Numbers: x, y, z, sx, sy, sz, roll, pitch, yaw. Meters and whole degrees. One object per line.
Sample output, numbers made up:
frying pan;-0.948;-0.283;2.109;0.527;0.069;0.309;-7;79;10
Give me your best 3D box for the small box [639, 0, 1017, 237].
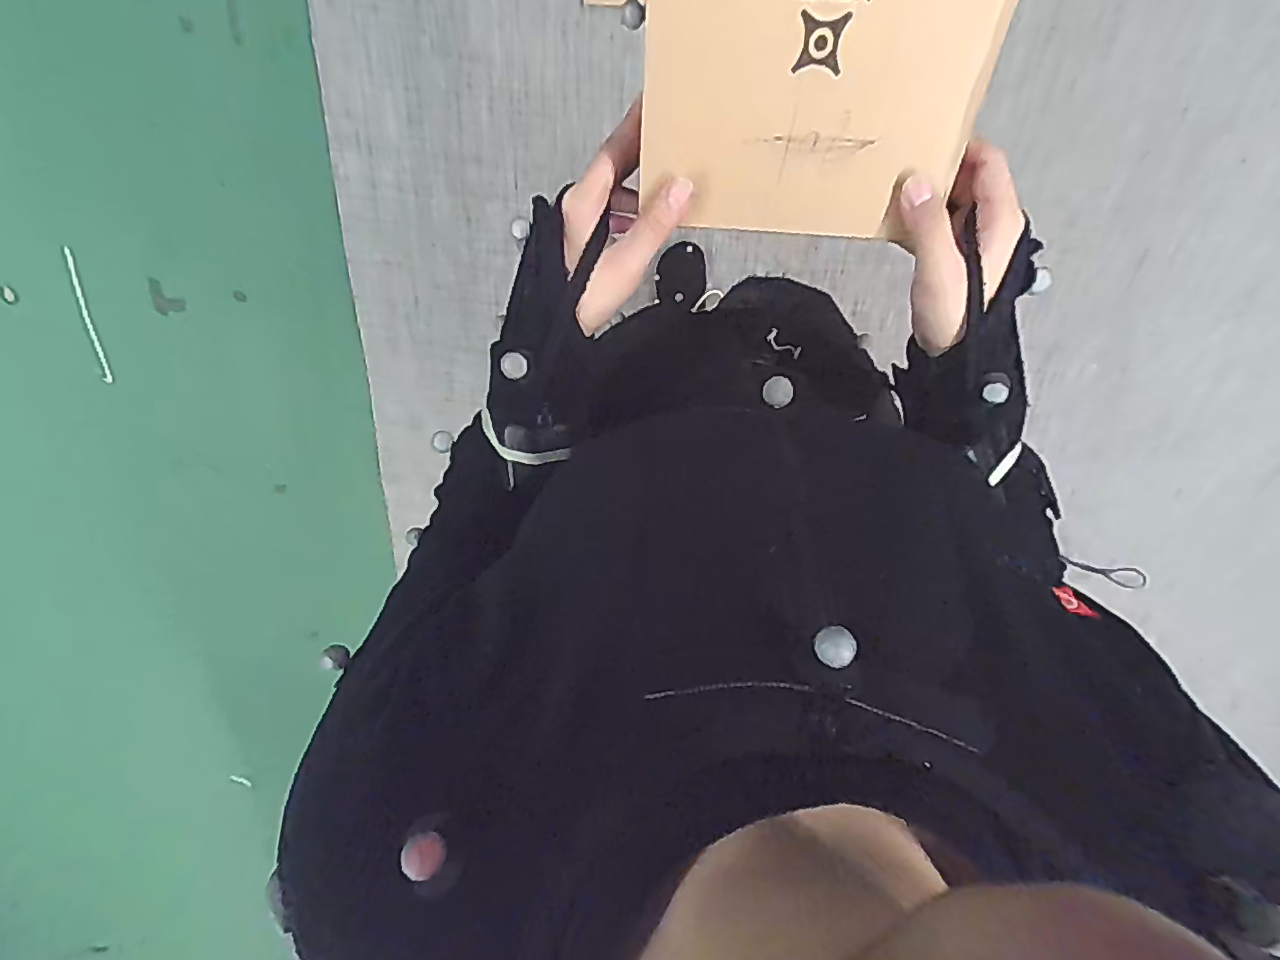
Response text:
small box;0.089;-0.257;0.310;0.168;0.176;0.179;5;128;1
